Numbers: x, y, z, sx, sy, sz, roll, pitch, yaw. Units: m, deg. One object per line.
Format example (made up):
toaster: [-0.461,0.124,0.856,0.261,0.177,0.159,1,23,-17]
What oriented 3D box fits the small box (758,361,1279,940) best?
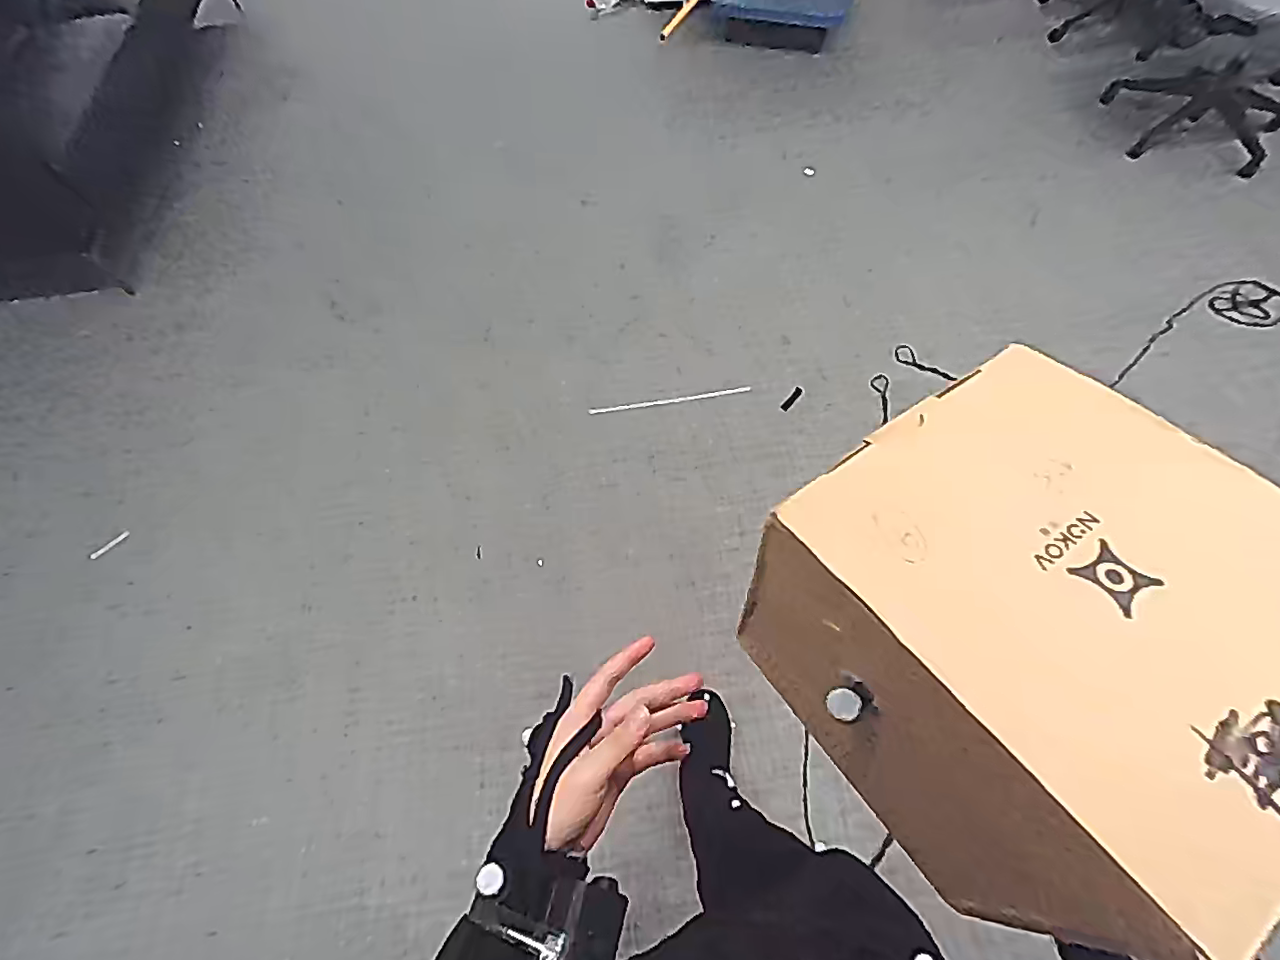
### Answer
small box: [0.180,0.079,0.276,0.168,0.176,0.179,-32,59,-16]
